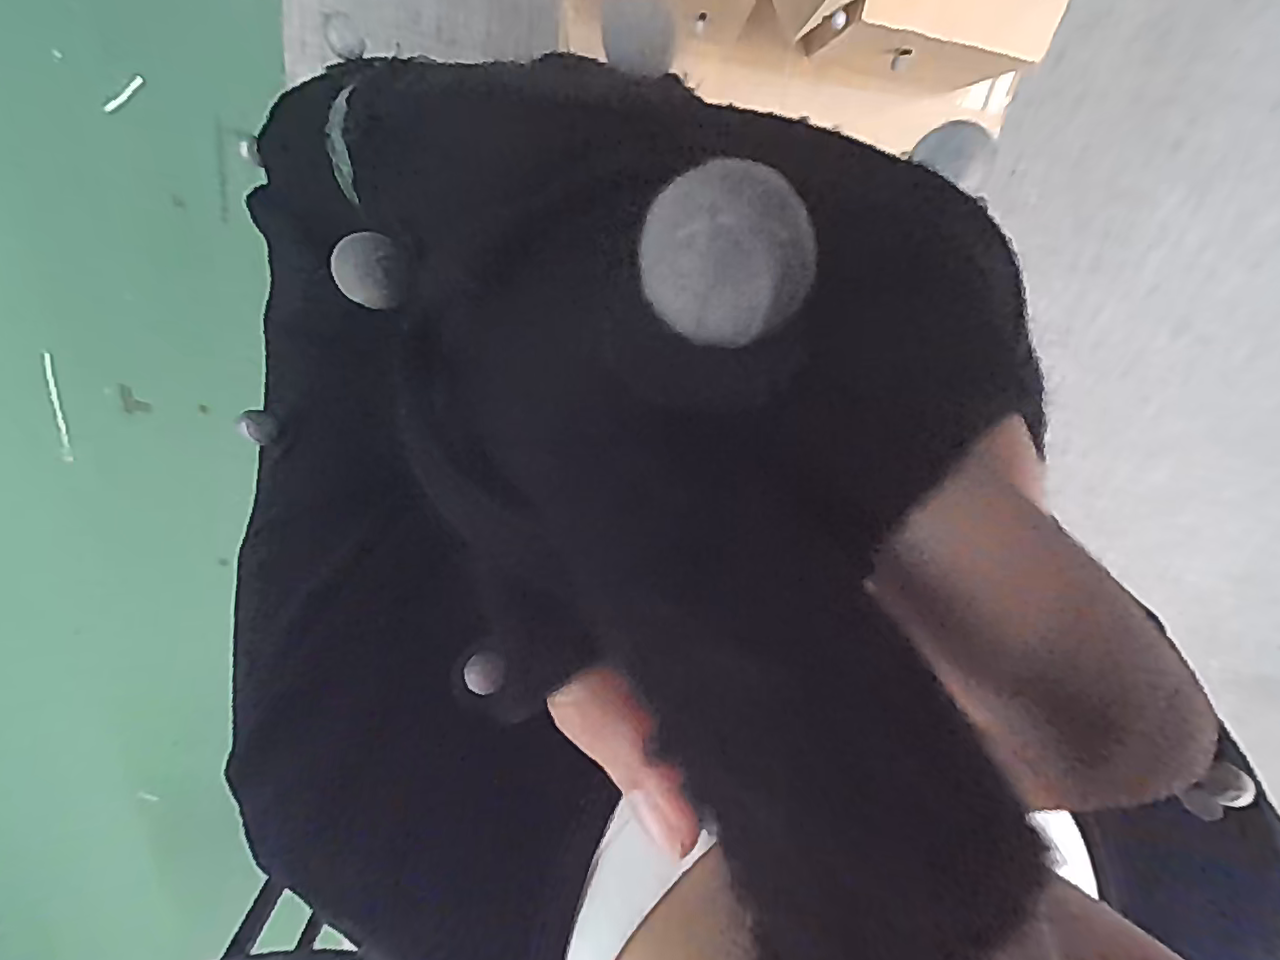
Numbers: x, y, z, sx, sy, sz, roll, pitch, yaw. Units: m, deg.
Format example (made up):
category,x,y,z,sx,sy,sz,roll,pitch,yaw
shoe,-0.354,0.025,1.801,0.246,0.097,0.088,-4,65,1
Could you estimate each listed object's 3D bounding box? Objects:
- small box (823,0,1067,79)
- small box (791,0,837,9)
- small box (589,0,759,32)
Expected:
category,x,y,z,sx,sy,sz,roll,pitch,yaw
small box,0.296,-0.506,0.513,0.179,0.176,0.168,10,119,-3
small box,0.161,-0.461,0.353,0.168,0.176,0.179,-28,112,15
small box,0.038,-0.544,0.497,0.179,0.176,0.168,8,117,-2
